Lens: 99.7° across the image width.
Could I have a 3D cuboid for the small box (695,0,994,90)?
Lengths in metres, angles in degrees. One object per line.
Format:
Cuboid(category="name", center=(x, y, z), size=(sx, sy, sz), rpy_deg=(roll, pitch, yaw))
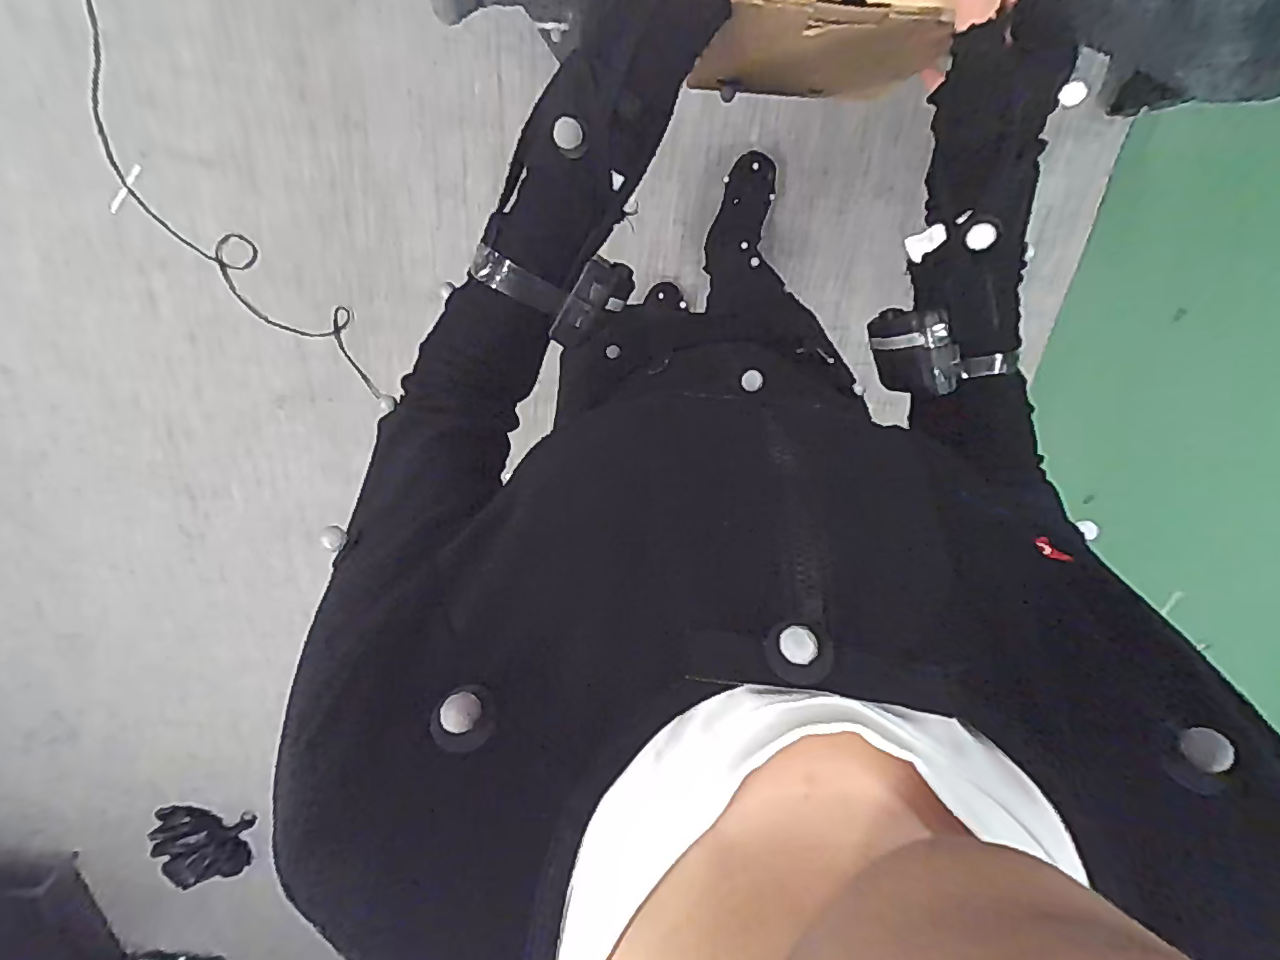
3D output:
Cuboid(category="small box", center=(0.130, -0.383, 0.353), size=(0.168, 0.176, 0.179), rpy_deg=(3, 110, -2))
